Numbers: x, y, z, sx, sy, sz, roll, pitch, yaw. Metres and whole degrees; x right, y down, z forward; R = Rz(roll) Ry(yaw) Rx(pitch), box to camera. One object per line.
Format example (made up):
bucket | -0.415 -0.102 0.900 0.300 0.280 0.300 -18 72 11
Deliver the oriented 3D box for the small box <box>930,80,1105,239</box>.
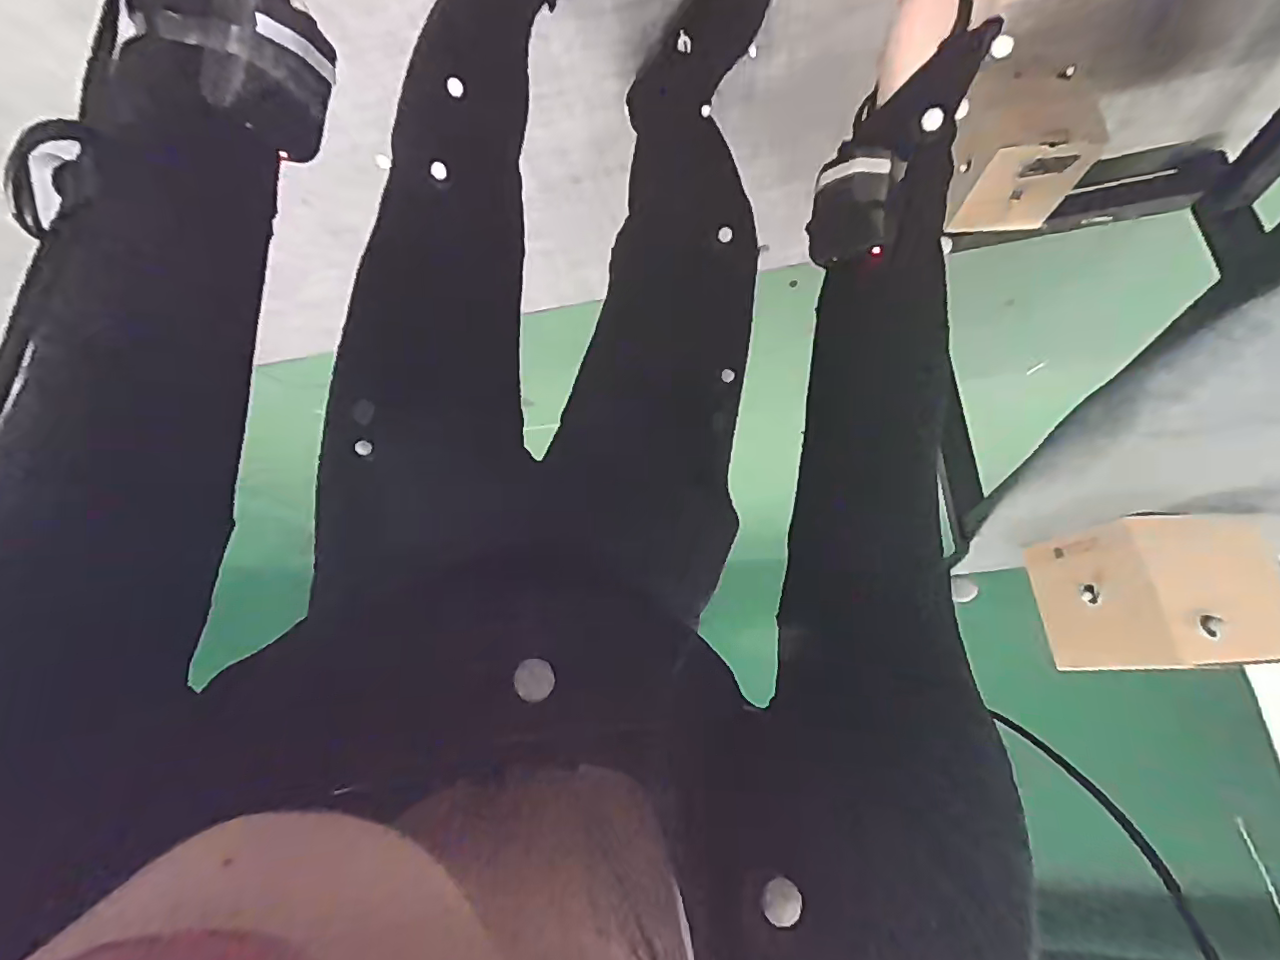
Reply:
small box | 0.617 -0.539 0.913 0.168 0.176 0.179 -1 162 2

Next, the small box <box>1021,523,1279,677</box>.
small box | 0.629 0.154 0.678 0.179 0.176 0.168 -1 160 -7
